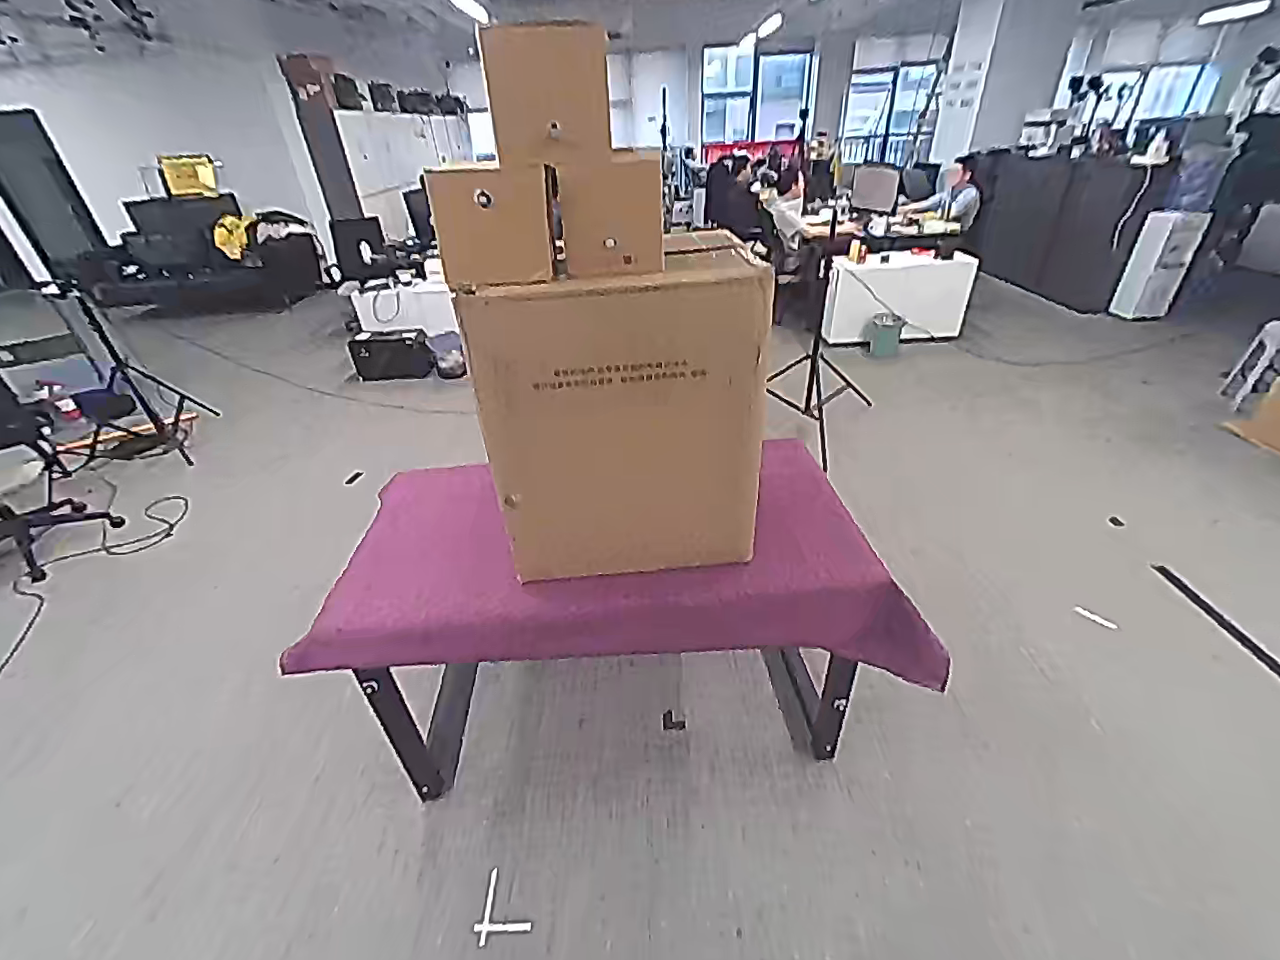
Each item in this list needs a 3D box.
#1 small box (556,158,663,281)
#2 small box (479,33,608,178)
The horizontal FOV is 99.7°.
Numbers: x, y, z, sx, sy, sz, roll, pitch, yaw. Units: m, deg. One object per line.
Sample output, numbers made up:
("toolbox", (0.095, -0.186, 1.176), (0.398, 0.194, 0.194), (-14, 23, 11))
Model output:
("small box", (-0.046, -0.455, 0.942), (0.168, 0.176, 0.179), (-4, 35, 1))
("small box", (-0.147, -0.581, 0.845), (0.179, 0.176, 0.168), (-9, 35, -10))
